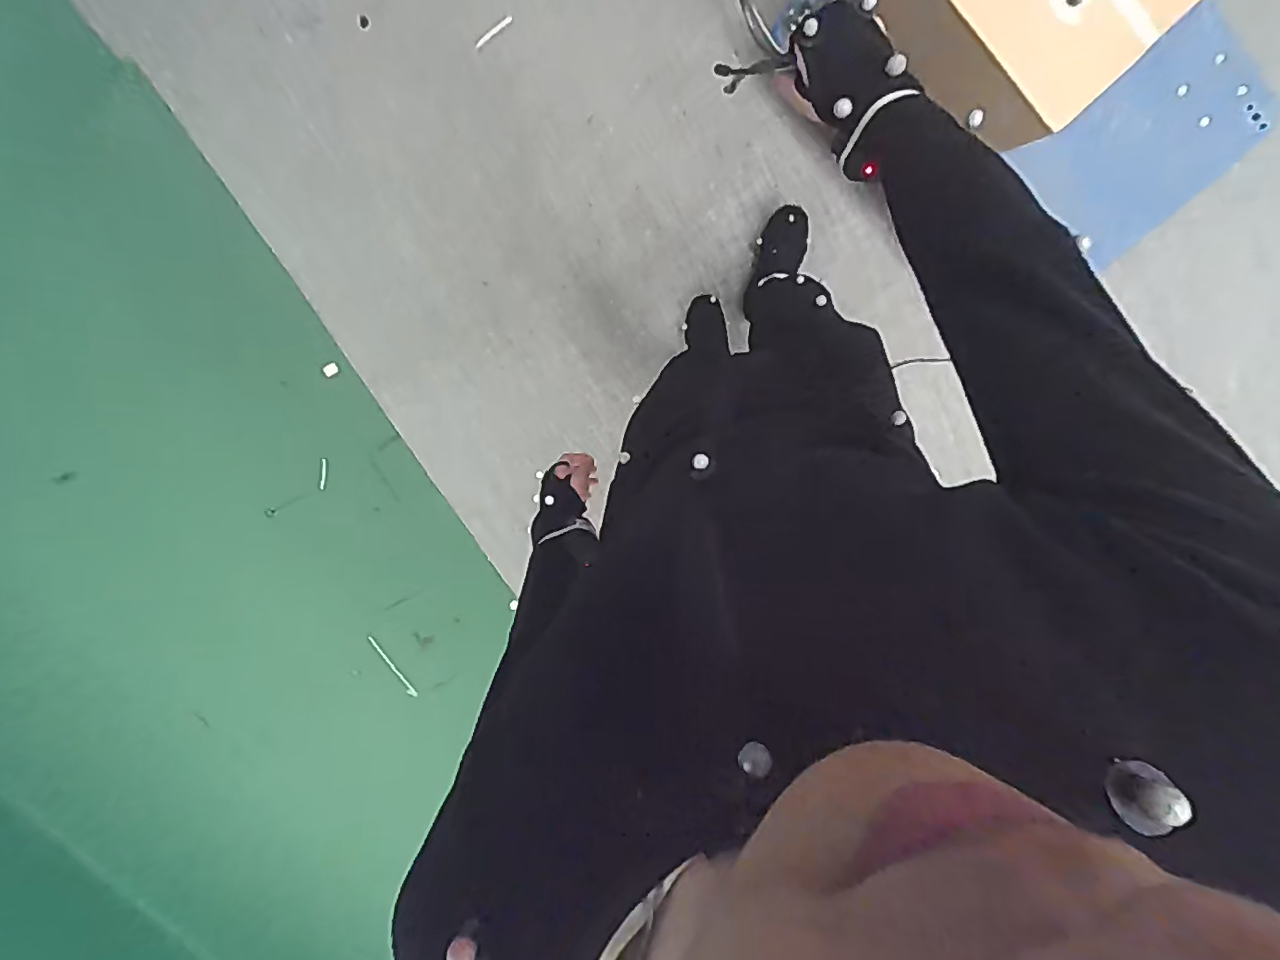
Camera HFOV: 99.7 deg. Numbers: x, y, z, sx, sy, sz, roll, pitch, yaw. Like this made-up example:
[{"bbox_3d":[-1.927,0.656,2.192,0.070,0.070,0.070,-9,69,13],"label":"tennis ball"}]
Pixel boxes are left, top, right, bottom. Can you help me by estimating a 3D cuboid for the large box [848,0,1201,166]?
[{"bbox_3d":[0.640,-0.835,0.925,0.408,0.320,0.320,42,111,-10],"label":"large box"}]
